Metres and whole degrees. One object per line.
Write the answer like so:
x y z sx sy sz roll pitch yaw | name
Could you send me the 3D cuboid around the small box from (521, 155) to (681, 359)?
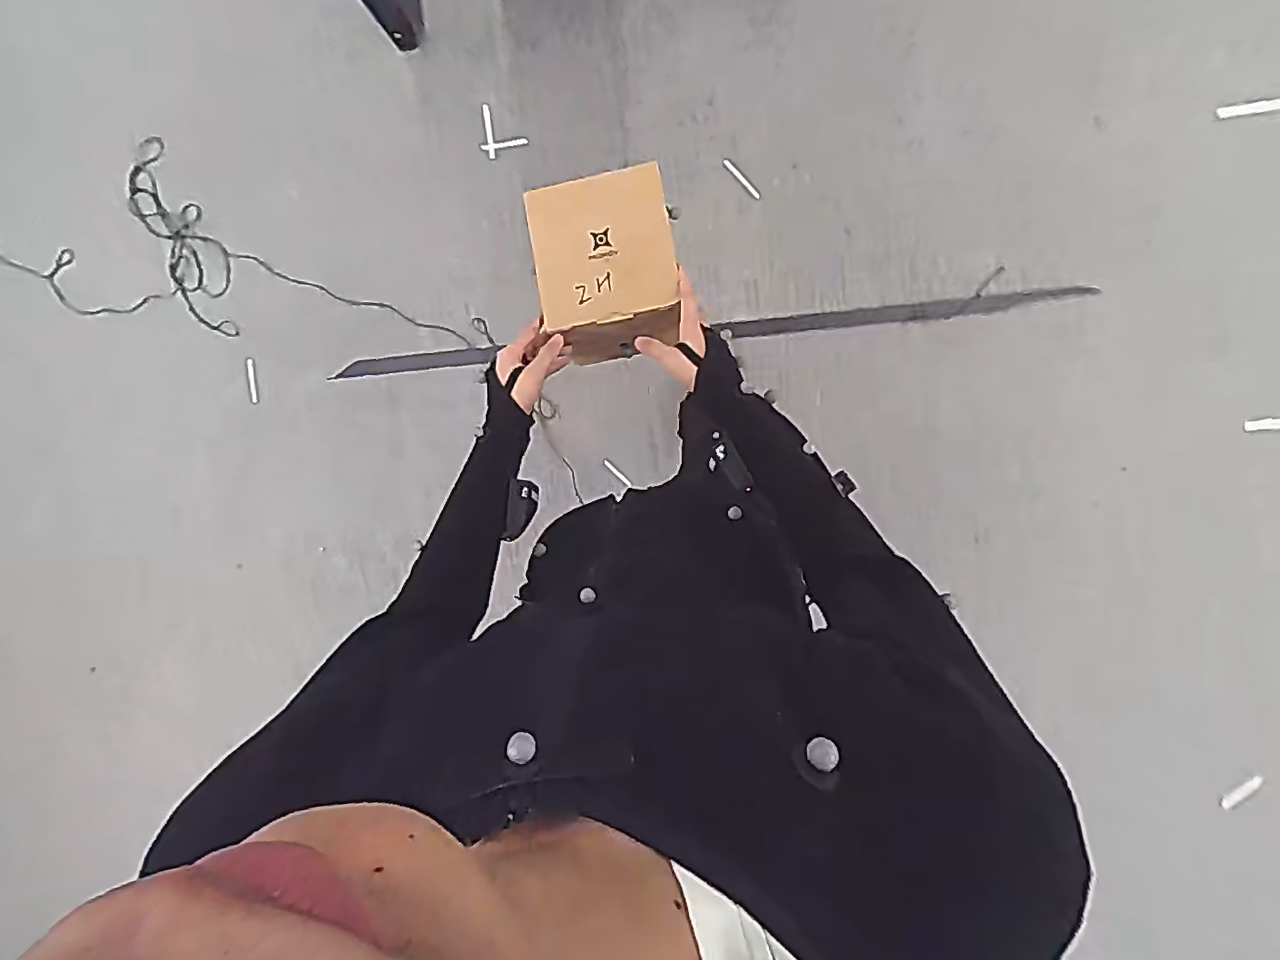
-0.041 -0.275 0.705 0.168 0.176 0.179 -10 88 6 | small box
